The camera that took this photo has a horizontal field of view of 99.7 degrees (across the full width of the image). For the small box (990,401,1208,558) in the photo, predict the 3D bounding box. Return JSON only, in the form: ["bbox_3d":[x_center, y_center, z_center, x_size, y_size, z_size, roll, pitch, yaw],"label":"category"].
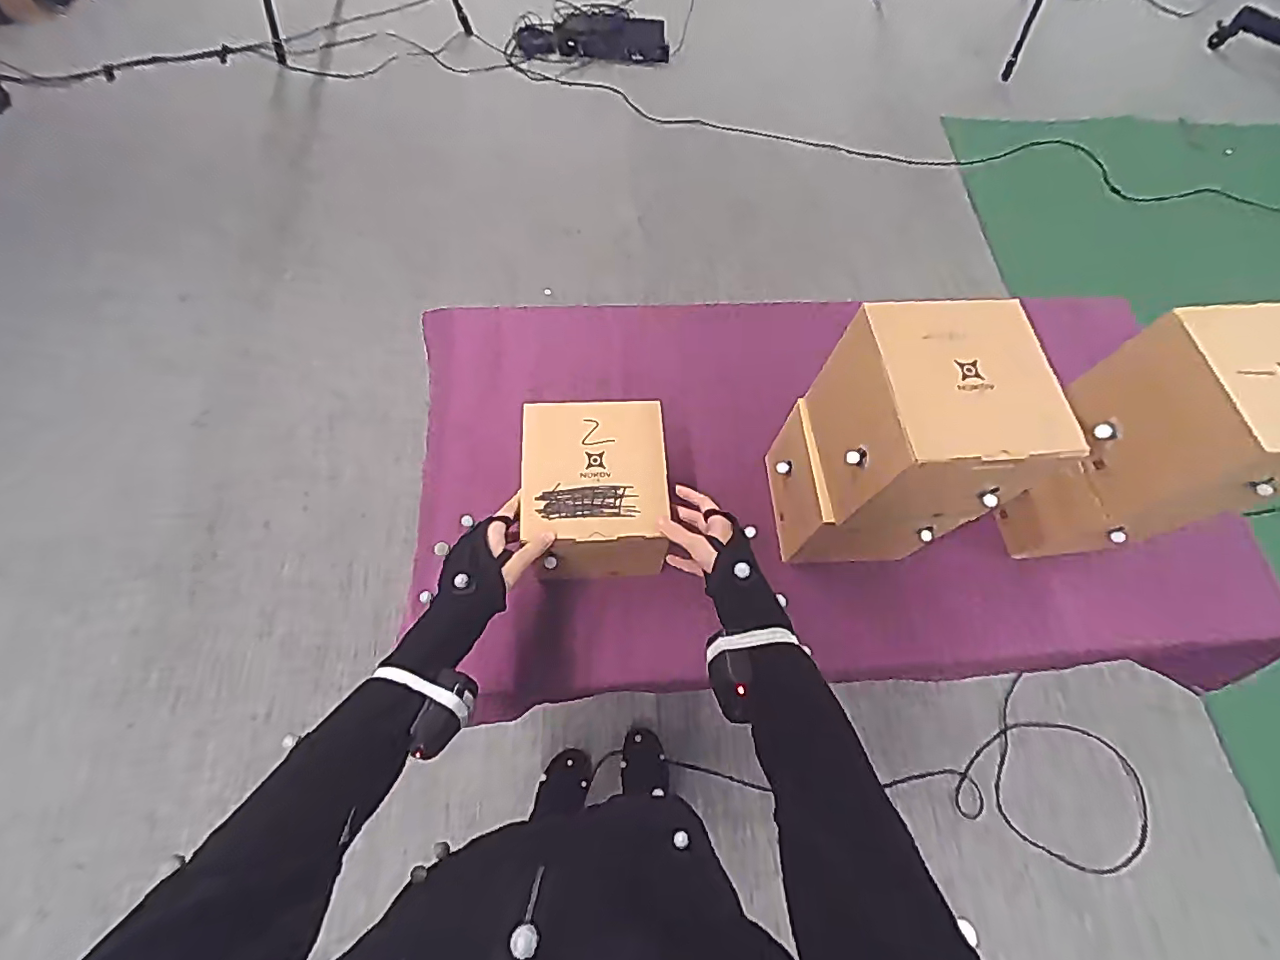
[{"bbox_3d":[0.603,0.002,0.740,0.179,0.176,0.168,-5,65,-5],"label":"small box"}]

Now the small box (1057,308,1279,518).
[{"bbox_3d":[0.612,-0.066,0.590,0.179,0.176,0.168,-4,65,-4],"label":"small box"}]

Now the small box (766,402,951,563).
[{"bbox_3d":[0.277,0.009,0.722,0.179,0.176,0.168,-1,65,-5],"label":"small box"}]

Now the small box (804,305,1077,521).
[{"bbox_3d":[0.293,-0.061,0.575,0.168,0.176,0.179,-2,64,-6],"label":"small box"}]
